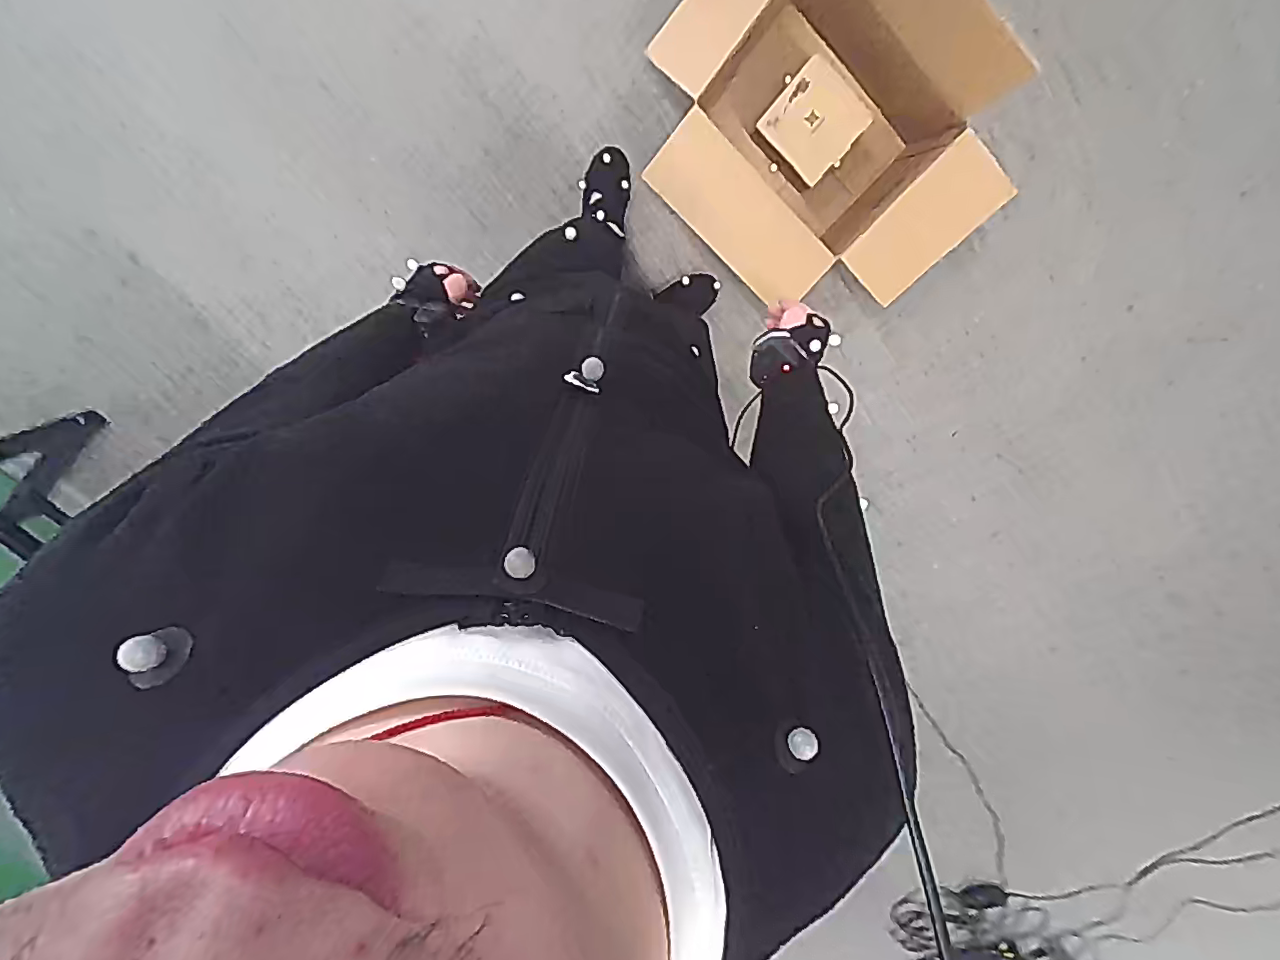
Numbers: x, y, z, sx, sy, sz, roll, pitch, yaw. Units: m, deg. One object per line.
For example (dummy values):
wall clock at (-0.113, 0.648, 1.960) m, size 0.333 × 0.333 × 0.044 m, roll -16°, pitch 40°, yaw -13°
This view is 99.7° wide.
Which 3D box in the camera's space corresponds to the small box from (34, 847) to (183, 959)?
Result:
small box at (-1.327, 1.059, 1.361) m, size 0.168 × 0.176 × 0.179 m, roll -32°, pitch 108°, yaw 19°
